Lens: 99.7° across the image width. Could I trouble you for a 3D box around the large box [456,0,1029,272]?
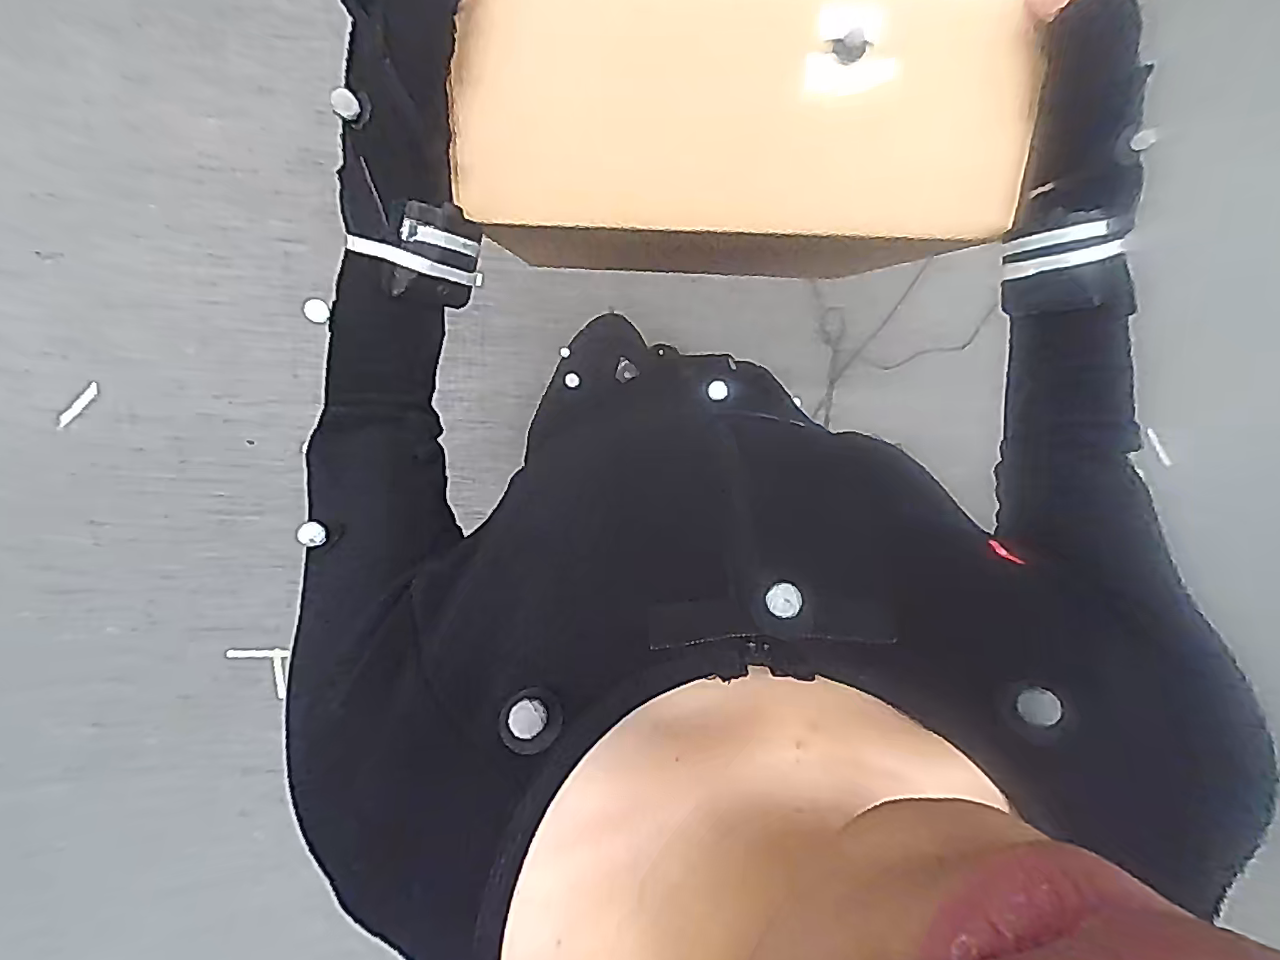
[{"bbox_3d":[0.066,-0.379,0.511,0.408,0.320,0.320,1,106,-2],"label":"large box"}]
